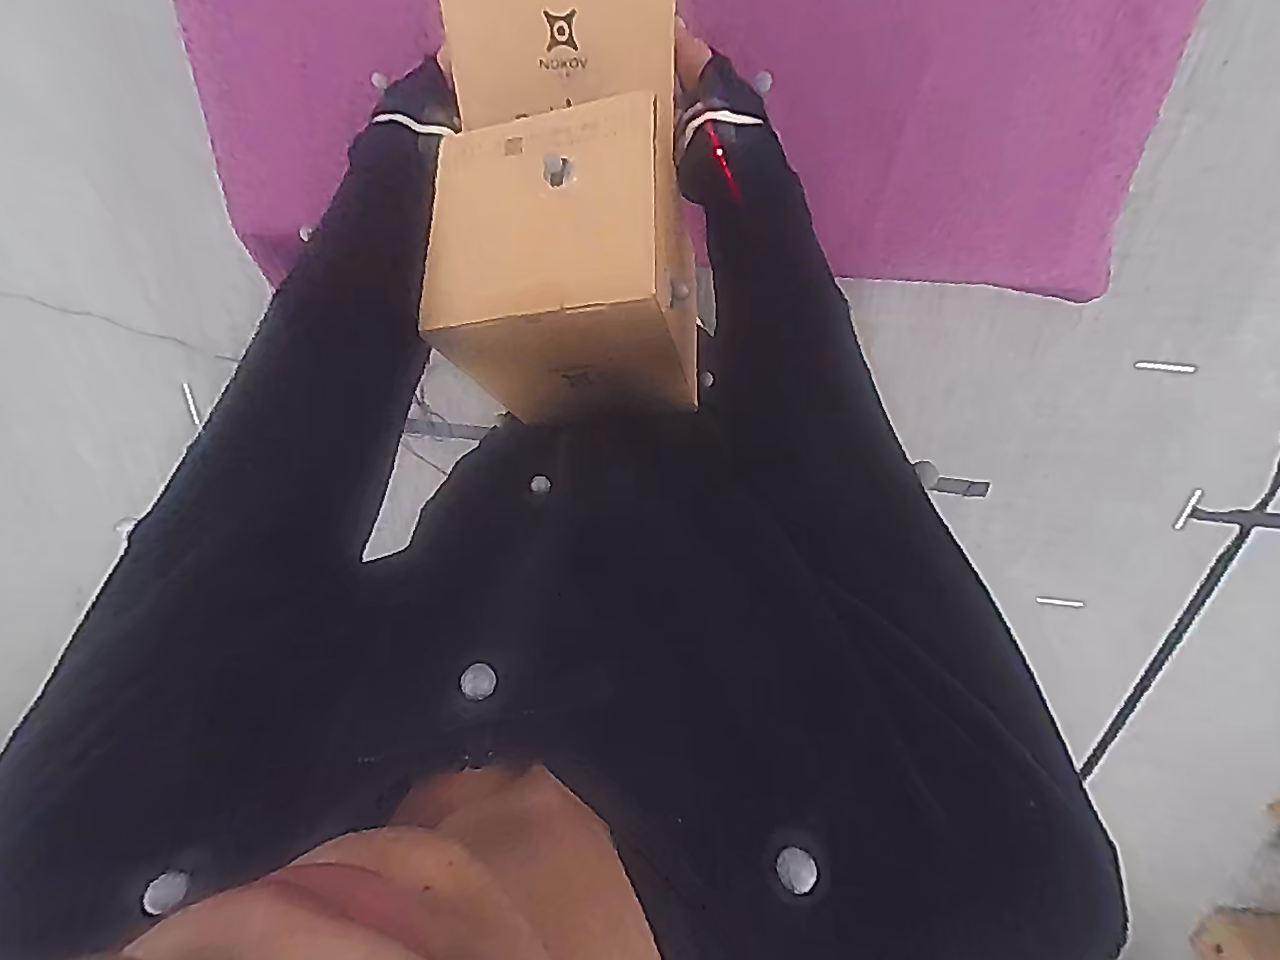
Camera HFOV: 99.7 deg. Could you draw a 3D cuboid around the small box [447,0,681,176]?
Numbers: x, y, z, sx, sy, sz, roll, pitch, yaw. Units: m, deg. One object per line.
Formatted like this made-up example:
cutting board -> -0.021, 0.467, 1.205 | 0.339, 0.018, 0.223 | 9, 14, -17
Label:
small box -> -0.052, -0.362, 0.450 | 0.168, 0.176, 0.179 | 0, 126, 2
